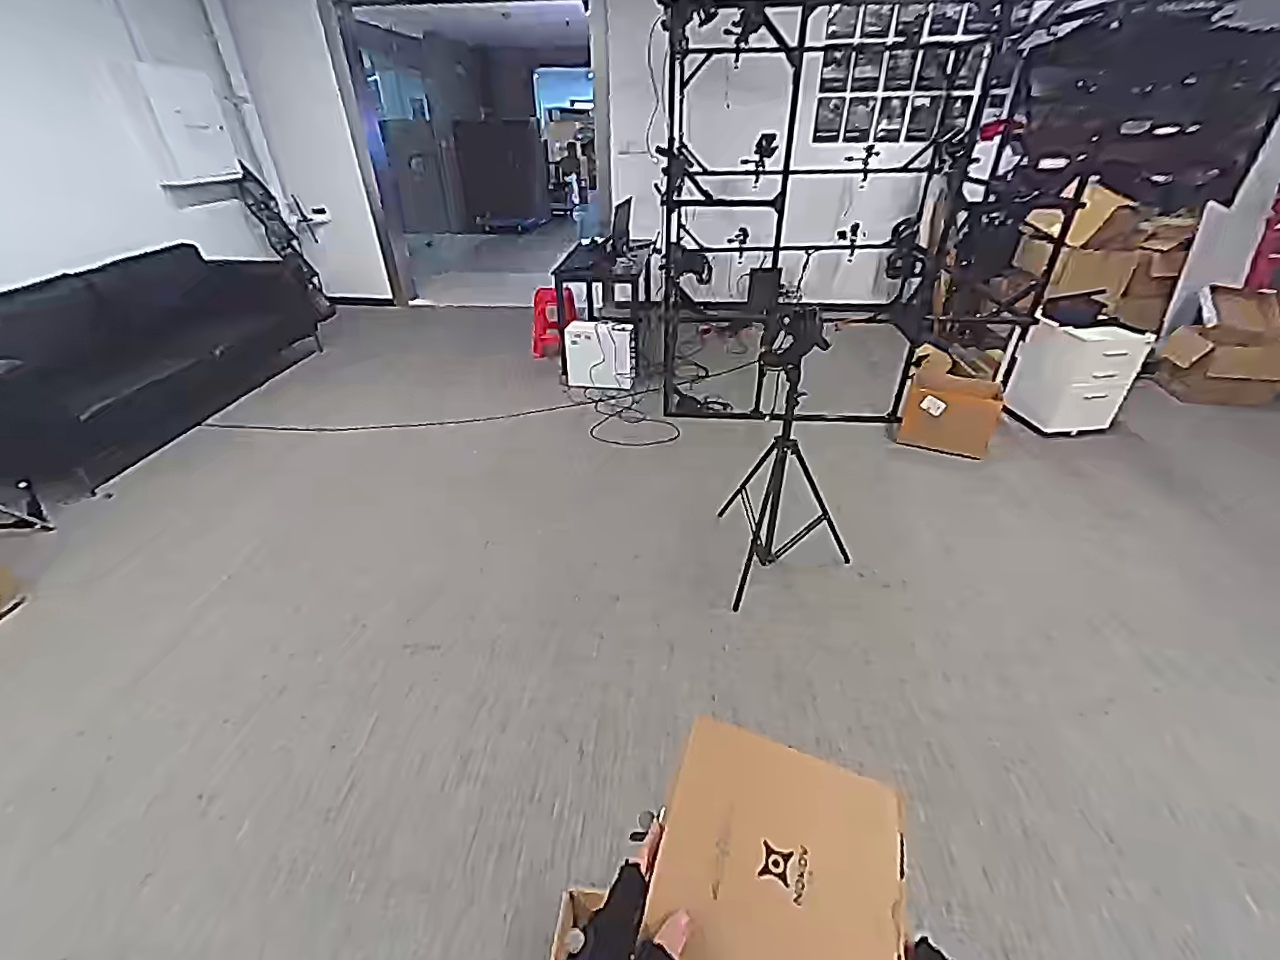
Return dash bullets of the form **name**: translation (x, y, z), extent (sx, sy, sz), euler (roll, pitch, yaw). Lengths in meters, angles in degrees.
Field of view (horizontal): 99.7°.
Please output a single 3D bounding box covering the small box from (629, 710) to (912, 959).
- **small box**: translation (0.099, 0.322, 0.446), extent (0.179, 0.176, 0.168), euler (16, 50, 9)
